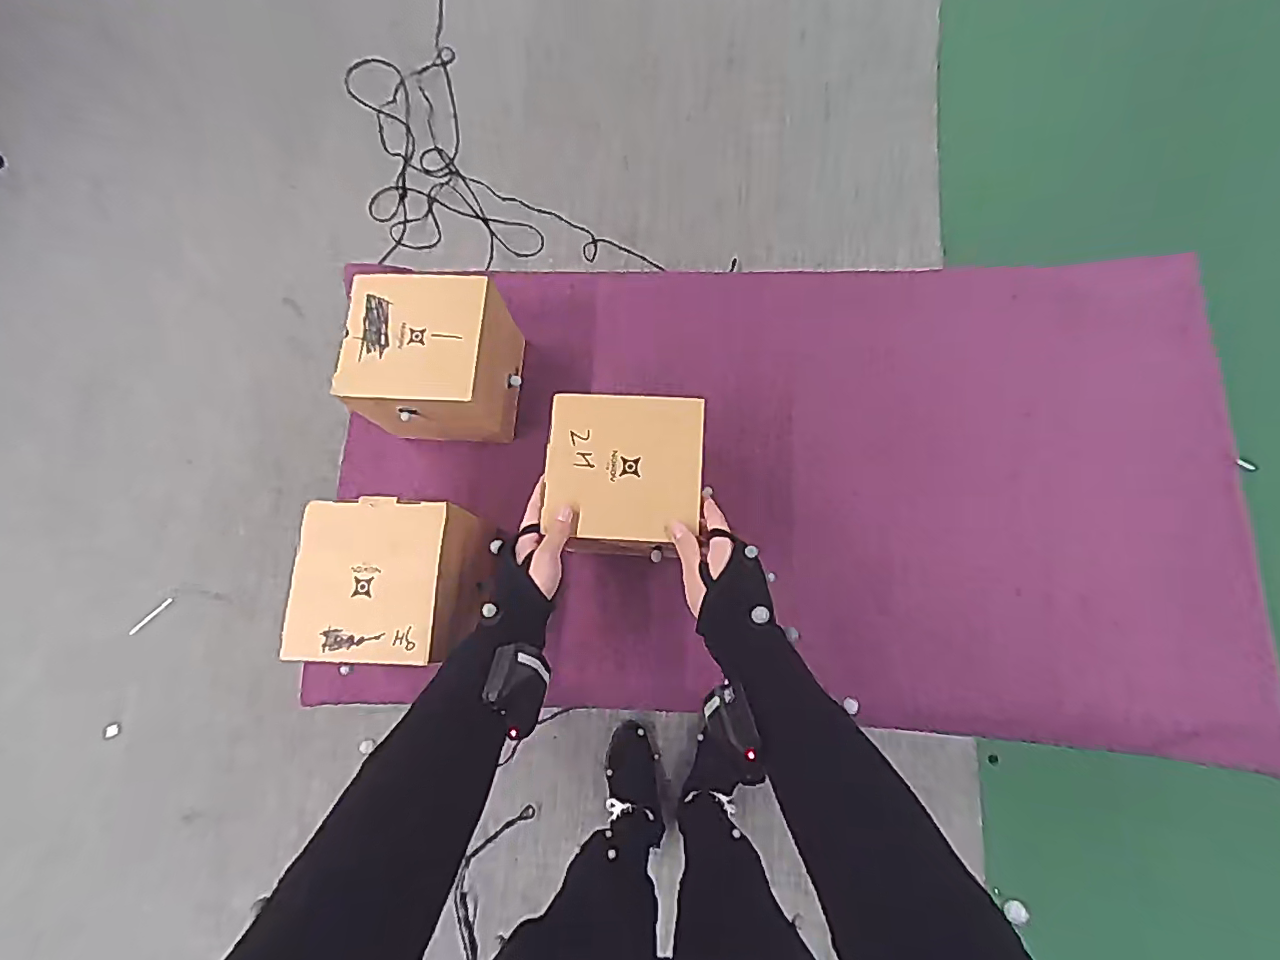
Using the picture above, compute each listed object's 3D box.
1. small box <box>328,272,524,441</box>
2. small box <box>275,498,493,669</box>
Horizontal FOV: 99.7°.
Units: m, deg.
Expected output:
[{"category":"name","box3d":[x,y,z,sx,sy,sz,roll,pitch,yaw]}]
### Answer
[{"category":"small box","box3d":[-0.270,-0.155,0.722,0.179,0.176,0.168,3,78,4]},{"category":"small box","box3d":[-0.289,0.128,0.654,0.168,0.176,0.179,1,75,6]}]
